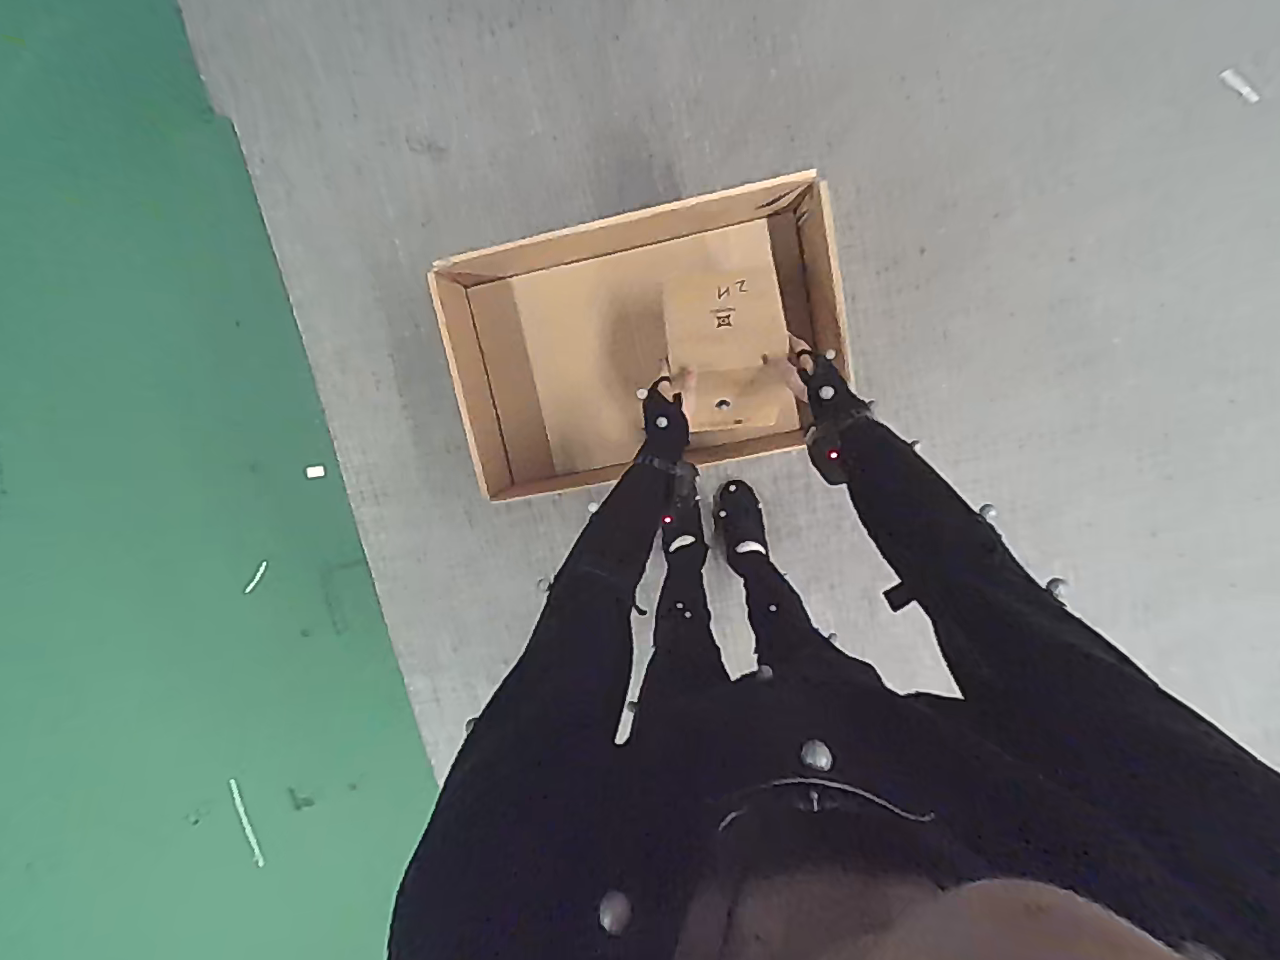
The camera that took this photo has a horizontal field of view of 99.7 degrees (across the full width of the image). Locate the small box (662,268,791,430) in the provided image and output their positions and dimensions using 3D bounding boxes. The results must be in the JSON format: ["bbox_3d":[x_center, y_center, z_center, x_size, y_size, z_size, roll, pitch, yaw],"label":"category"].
[{"bbox_3d":[0.121,-0.185,0.808,0.168,0.176,0.179,-3,63,3],"label":"small box"}]
